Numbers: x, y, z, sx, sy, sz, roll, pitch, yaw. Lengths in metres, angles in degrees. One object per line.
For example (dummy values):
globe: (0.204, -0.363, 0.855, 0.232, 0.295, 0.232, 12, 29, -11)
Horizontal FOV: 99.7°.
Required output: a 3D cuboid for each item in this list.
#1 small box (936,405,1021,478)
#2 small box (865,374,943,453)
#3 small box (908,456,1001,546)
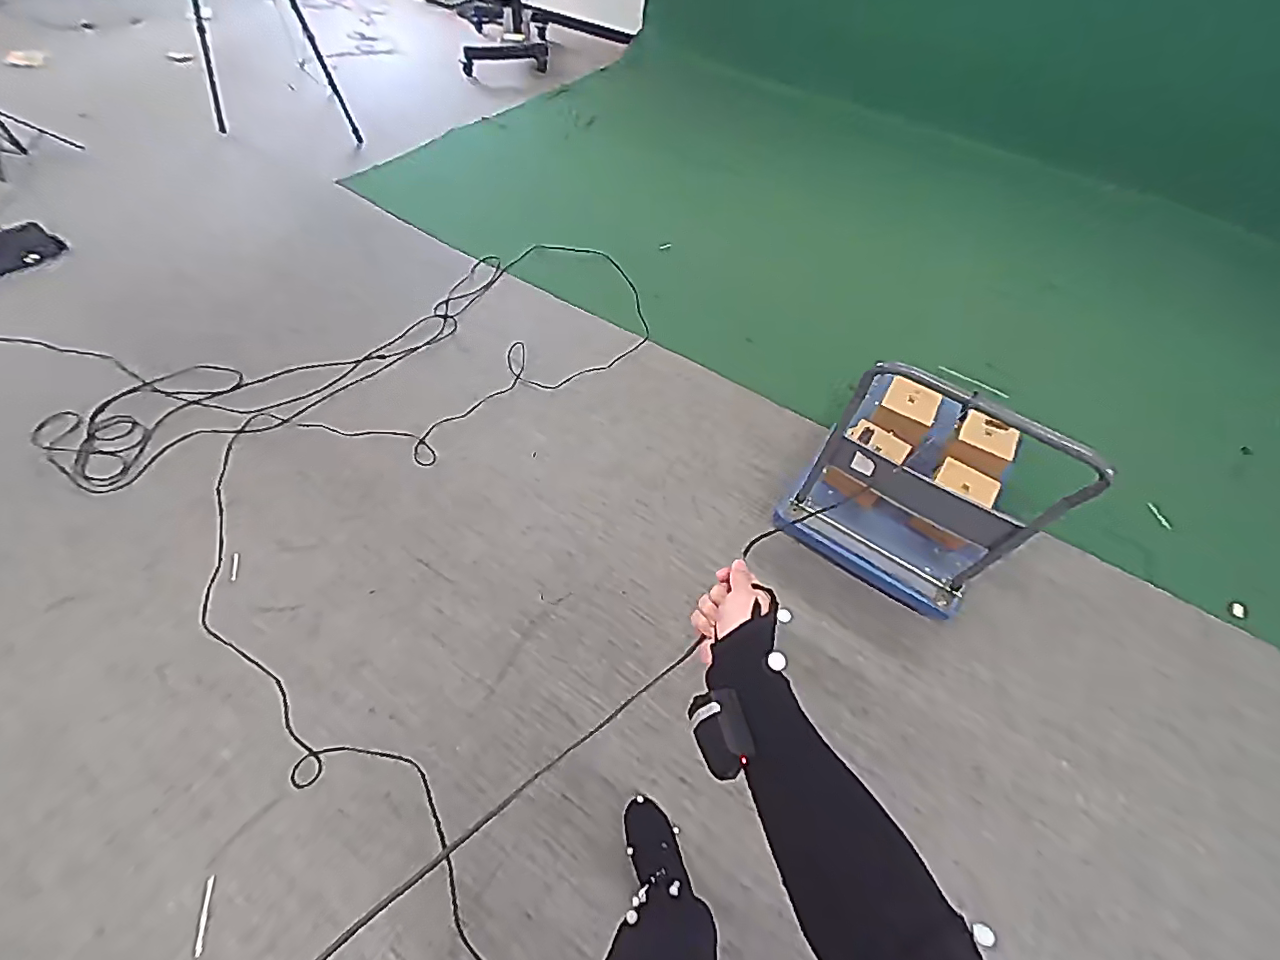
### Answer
small box: (1.108, -0.109, 1.780, 0.168, 0.176, 0.179, 28, 59, 16)
small box: (0.894, -0.222, 1.847, 0.168, 0.176, 0.179, 29, 58, 15)
small box: (0.950, 0.067, 1.648, 0.168, 0.176, 0.179, 32, 60, 18)
